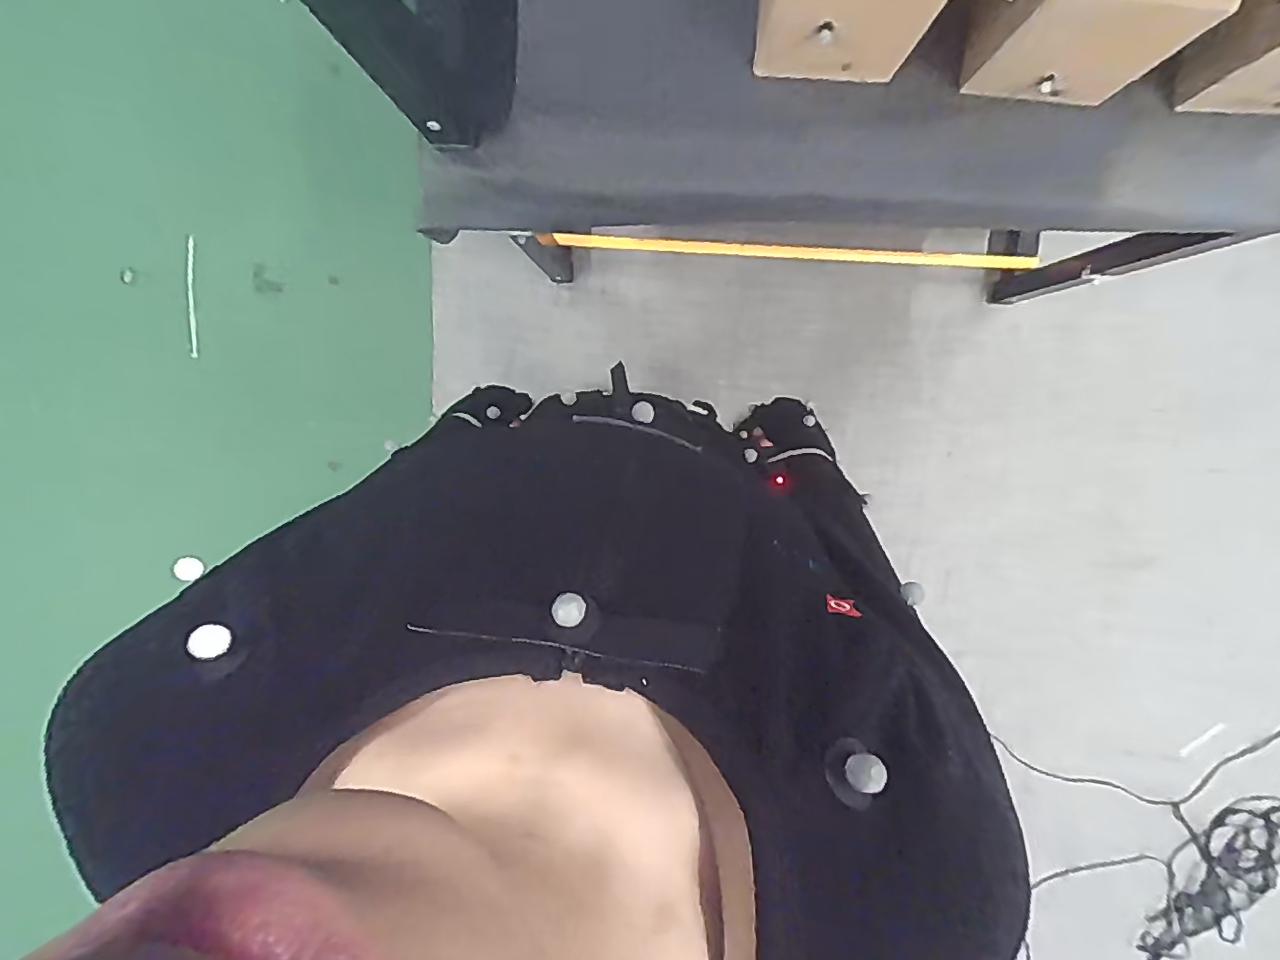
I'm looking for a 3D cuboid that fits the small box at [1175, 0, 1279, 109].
[{"bbox_3d":[0.713,-0.512,0.552,0.168,0.176,0.179,3,97,2],"label":"small box"}]

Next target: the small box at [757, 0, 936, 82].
[{"bbox_3d":[0.222,-0.559,0.570,0.168,0.176,0.179,4,98,2],"label":"small box"}]
